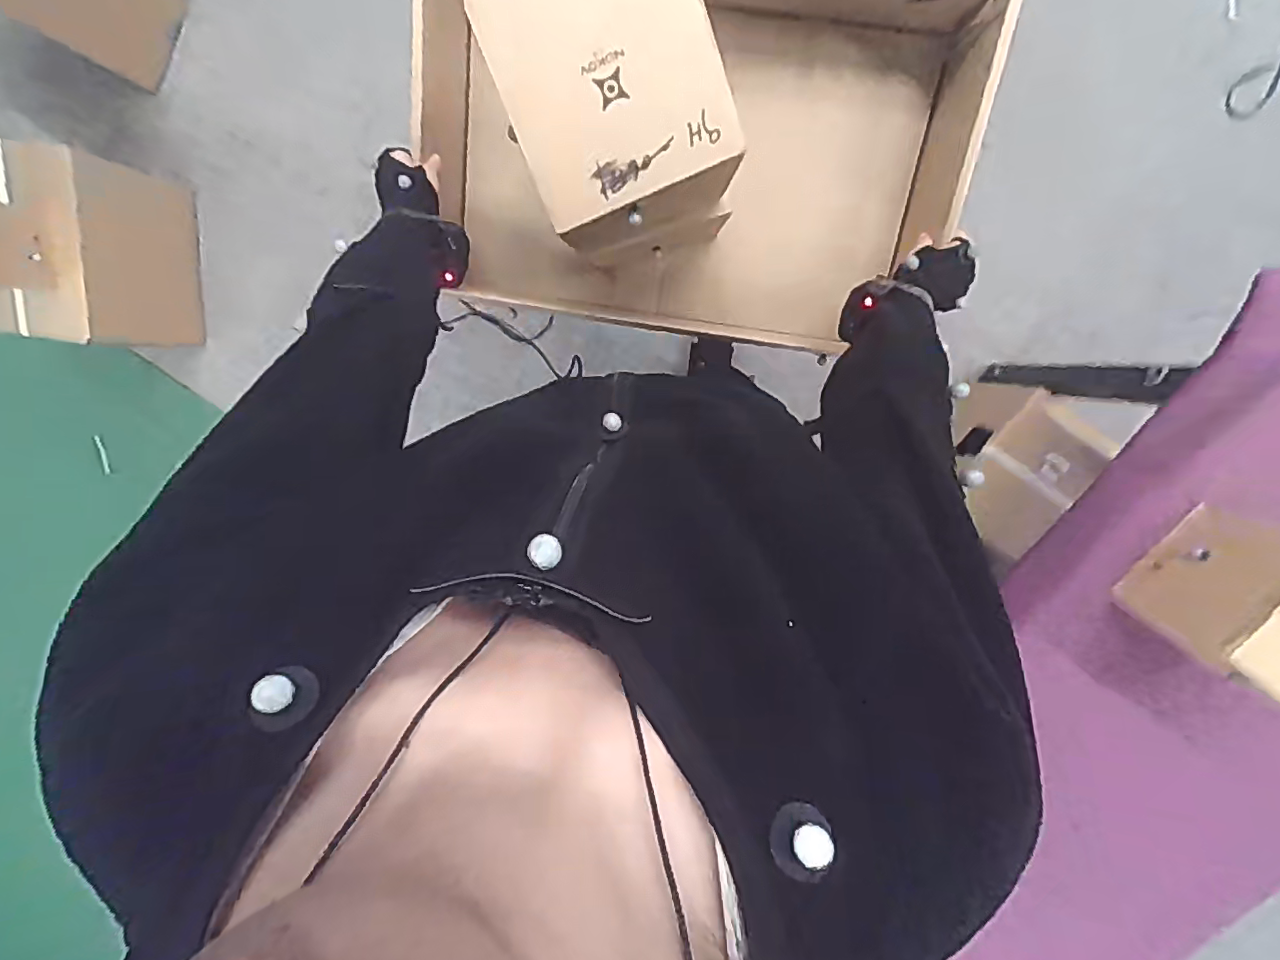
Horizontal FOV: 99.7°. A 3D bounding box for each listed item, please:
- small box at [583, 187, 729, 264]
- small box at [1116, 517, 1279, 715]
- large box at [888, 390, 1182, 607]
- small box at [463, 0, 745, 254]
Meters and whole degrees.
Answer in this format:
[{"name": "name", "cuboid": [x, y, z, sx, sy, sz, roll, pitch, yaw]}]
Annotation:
[{"name": "small box", "cuboid": [-0.001, -0.365, 0.636, 0.168, 0.176, 0.179, -16, 105, 6]}, {"name": "small box", "cuboid": [0.759, 0.168, 0.656, 0.179, 0.176, 0.168, 36, 103, -4]}, {"name": "large box", "cuboid": [0.898, 0.024, 1.294, 0.408, 0.320, 0.320, 35, 102, -2]}, {"name": "small box", "cuboid": [-0.023, -0.324, 0.479, 0.168, 0.176, 0.179, -21, 105, 8]}]
